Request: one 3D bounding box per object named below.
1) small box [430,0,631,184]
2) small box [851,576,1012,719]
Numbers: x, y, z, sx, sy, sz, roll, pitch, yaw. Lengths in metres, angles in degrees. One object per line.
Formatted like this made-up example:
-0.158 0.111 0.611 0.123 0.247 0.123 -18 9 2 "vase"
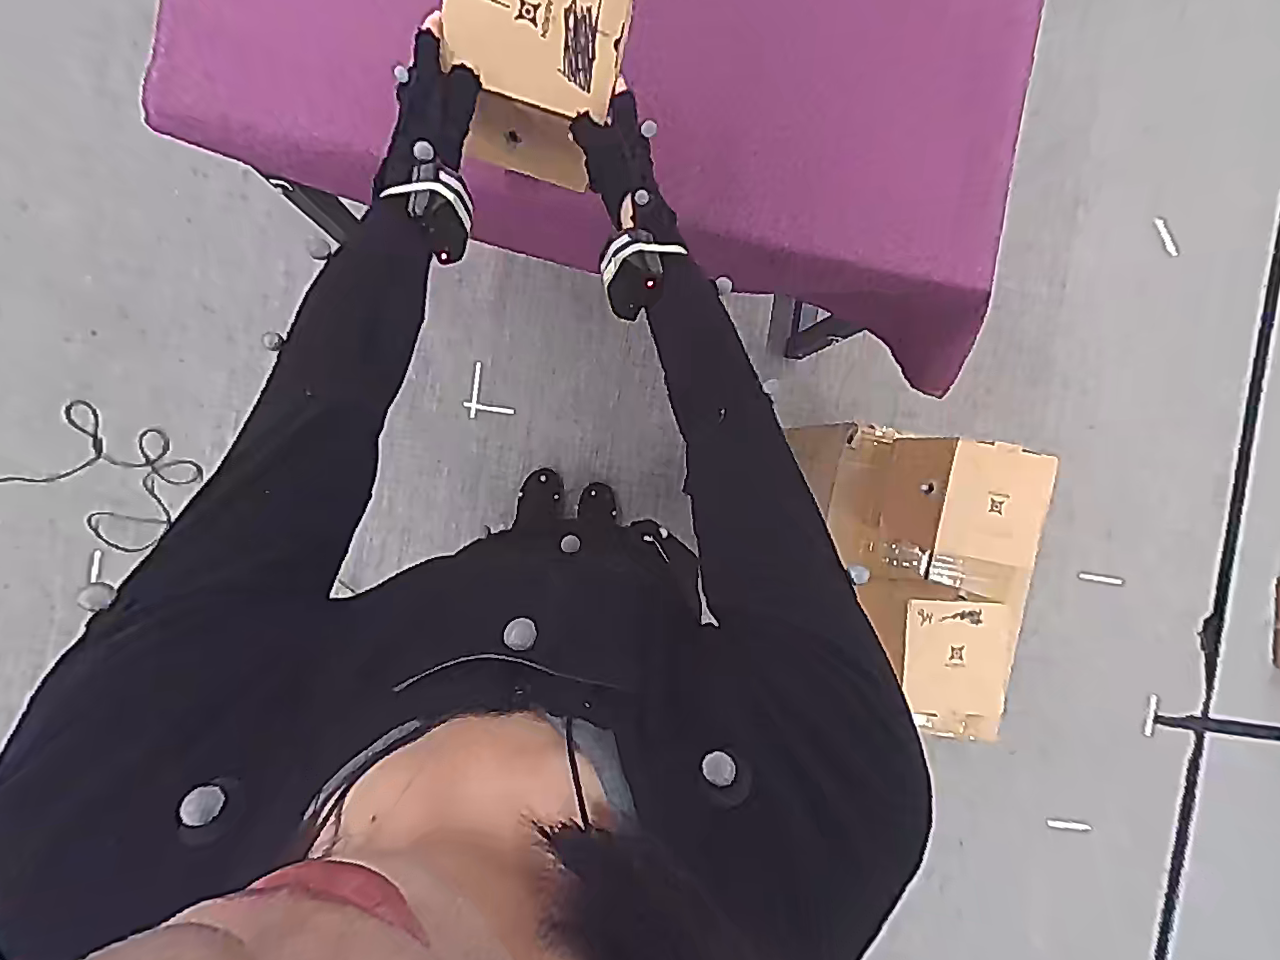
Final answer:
-0.123 -0.469 0.616 0.179 0.176 0.168 11 94 -14 "small box"
0.462 0.265 0.883 0.168 0.176 0.179 4 91 -5 "small box"
